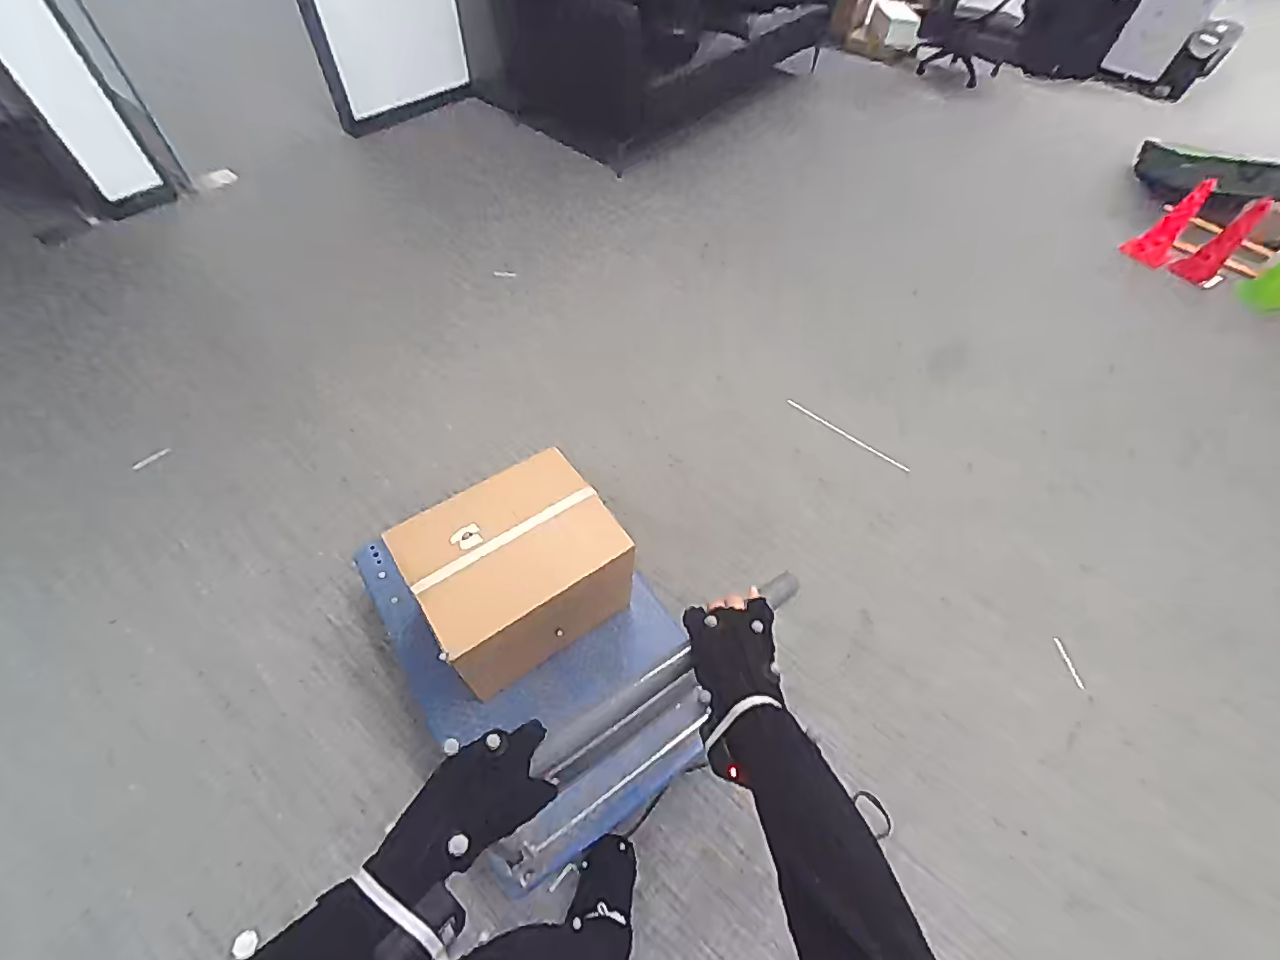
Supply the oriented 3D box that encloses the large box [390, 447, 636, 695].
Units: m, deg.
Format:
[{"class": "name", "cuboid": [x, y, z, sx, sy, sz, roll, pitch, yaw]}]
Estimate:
[{"class": "large box", "cuboid": [-0.260, 0.203, 1.211, 0.408, 0.320, 0.320, -31, 63, -22]}]
